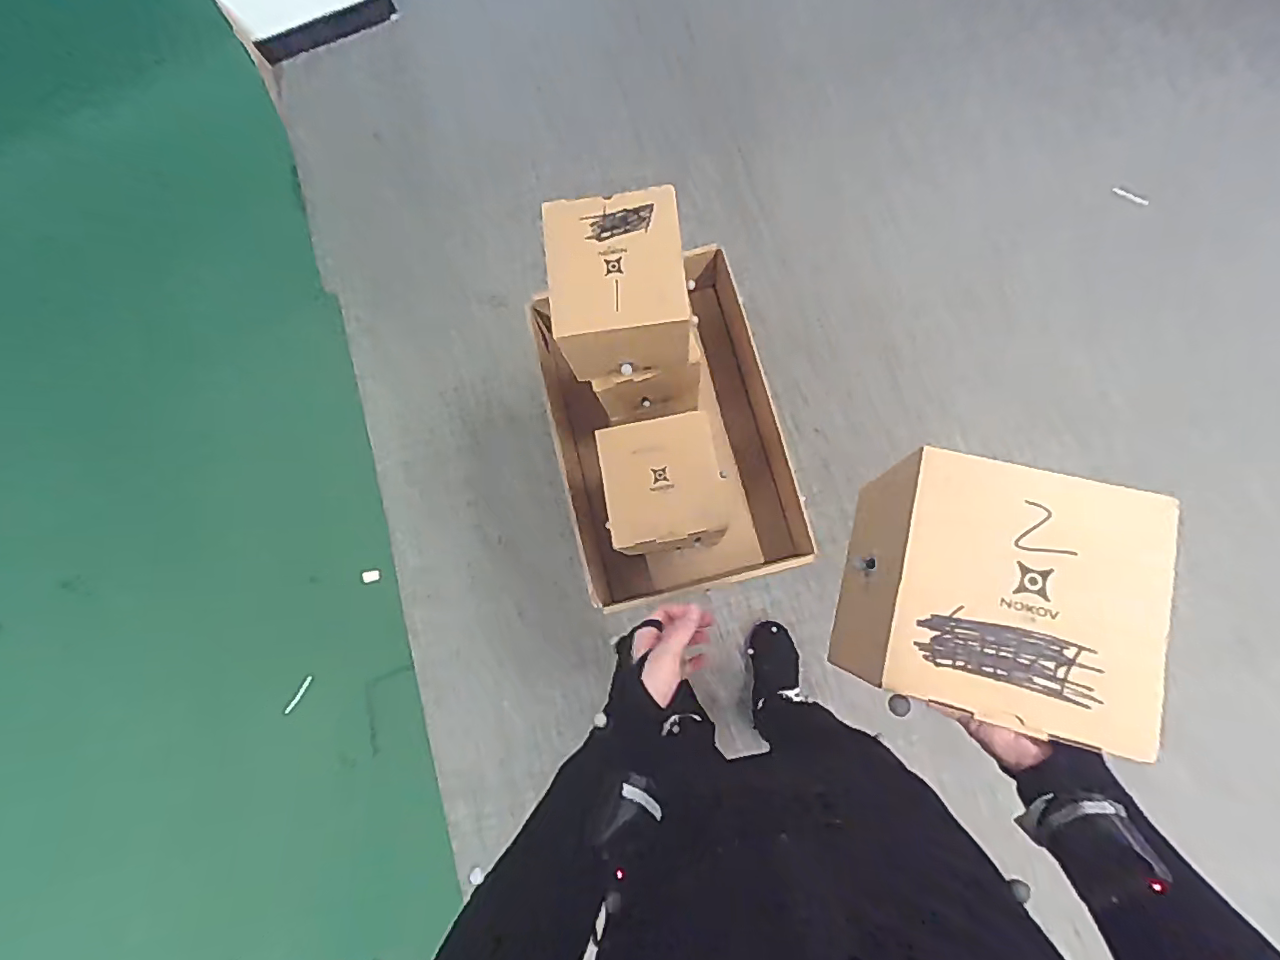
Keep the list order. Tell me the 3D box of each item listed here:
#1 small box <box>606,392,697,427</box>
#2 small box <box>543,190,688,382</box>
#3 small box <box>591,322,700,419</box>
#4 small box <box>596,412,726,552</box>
[{"bbox_3d":[0.009,-0.197,1.047,0.168,0.176,0.179,-16,80,3],"label":"small box"},{"bbox_3d":[-0.027,-0.249,0.727,0.168,0.176,0.179,-6,82,4],"label":"small box"},{"bbox_3d":[-0.006,-0.220,0.888,0.168,0.176,0.179,-16,80,2],"label":"small box"},{"bbox_3d":[0.036,0.014,0.837,0.168,0.176,0.179,-10,78,3],"label":"small box"}]
